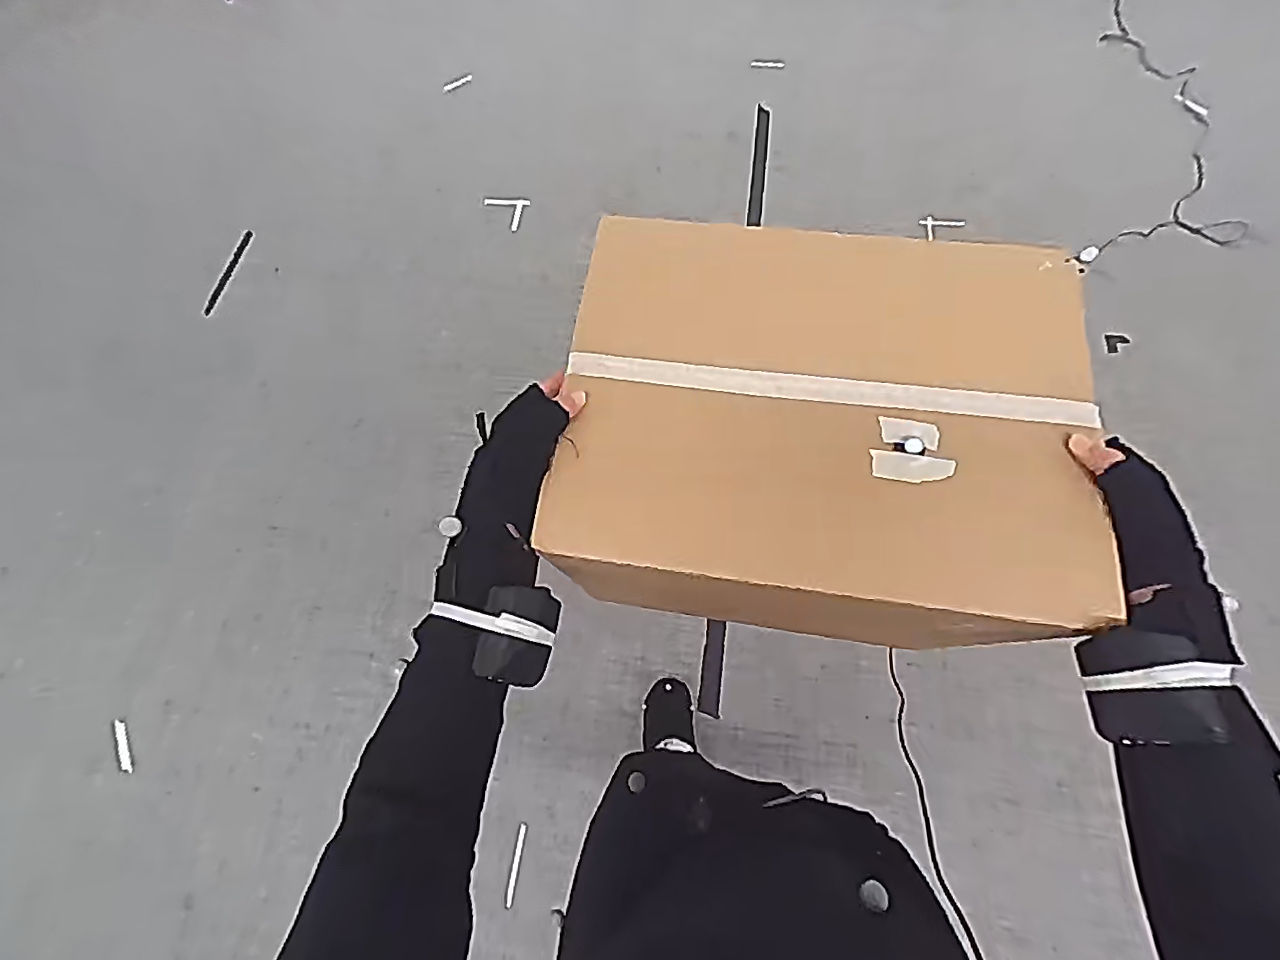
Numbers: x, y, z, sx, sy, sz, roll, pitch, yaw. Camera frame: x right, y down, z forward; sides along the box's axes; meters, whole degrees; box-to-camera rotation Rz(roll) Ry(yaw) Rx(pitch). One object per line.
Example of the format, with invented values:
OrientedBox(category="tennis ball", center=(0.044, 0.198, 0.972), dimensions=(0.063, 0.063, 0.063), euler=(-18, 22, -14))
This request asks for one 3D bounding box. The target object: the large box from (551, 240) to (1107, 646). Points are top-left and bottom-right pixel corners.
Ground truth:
OrientedBox(category="large box", center=(0.153, -0.012, 0.576), dimensions=(0.408, 0.320, 0.320), euler=(7, 72, 6))
